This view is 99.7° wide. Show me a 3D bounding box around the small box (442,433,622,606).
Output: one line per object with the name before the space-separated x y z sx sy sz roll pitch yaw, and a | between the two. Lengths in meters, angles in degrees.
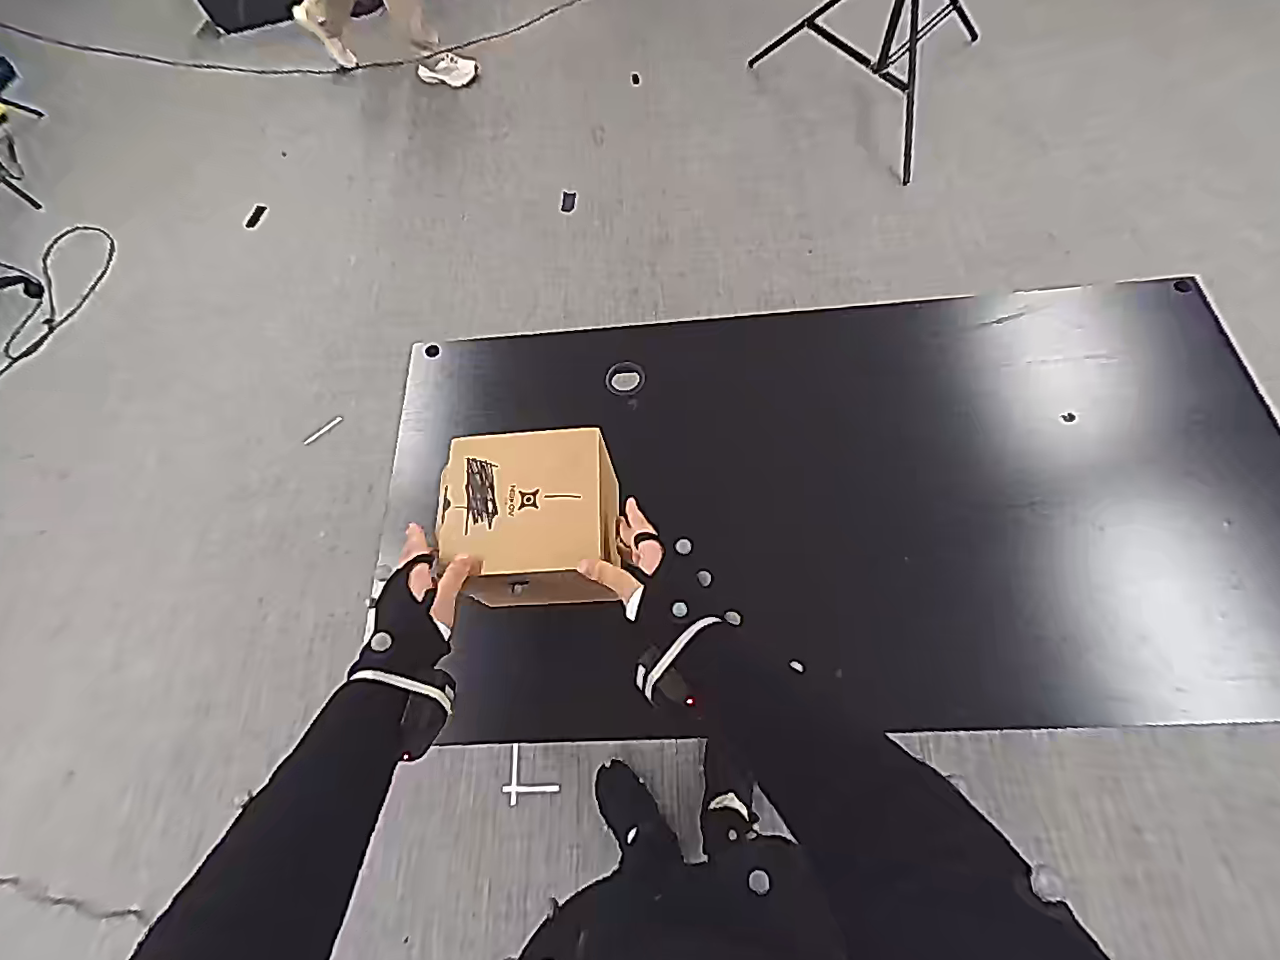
small box | -0.120 0.058 0.671 0.179 0.176 0.168 -4 66 4
